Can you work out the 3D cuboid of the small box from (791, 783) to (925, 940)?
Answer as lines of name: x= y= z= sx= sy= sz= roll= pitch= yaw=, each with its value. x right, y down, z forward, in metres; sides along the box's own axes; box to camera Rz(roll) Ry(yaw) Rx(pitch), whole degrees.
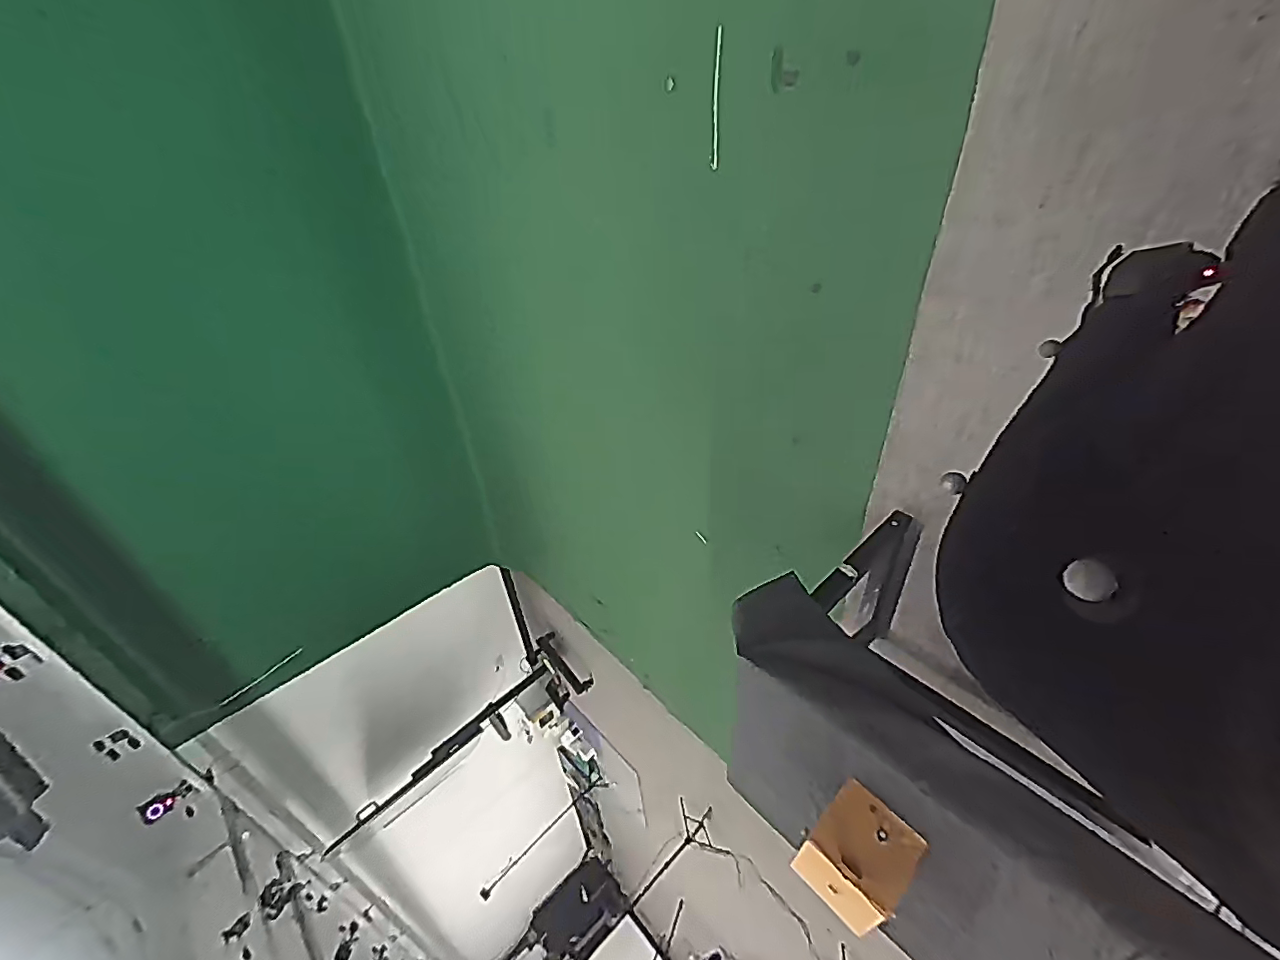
small box: x=0.431 y=0.751 z=1.074 sx=0.168 sy=0.176 sz=0.179 roll=35 pitch=141 yaw=34
